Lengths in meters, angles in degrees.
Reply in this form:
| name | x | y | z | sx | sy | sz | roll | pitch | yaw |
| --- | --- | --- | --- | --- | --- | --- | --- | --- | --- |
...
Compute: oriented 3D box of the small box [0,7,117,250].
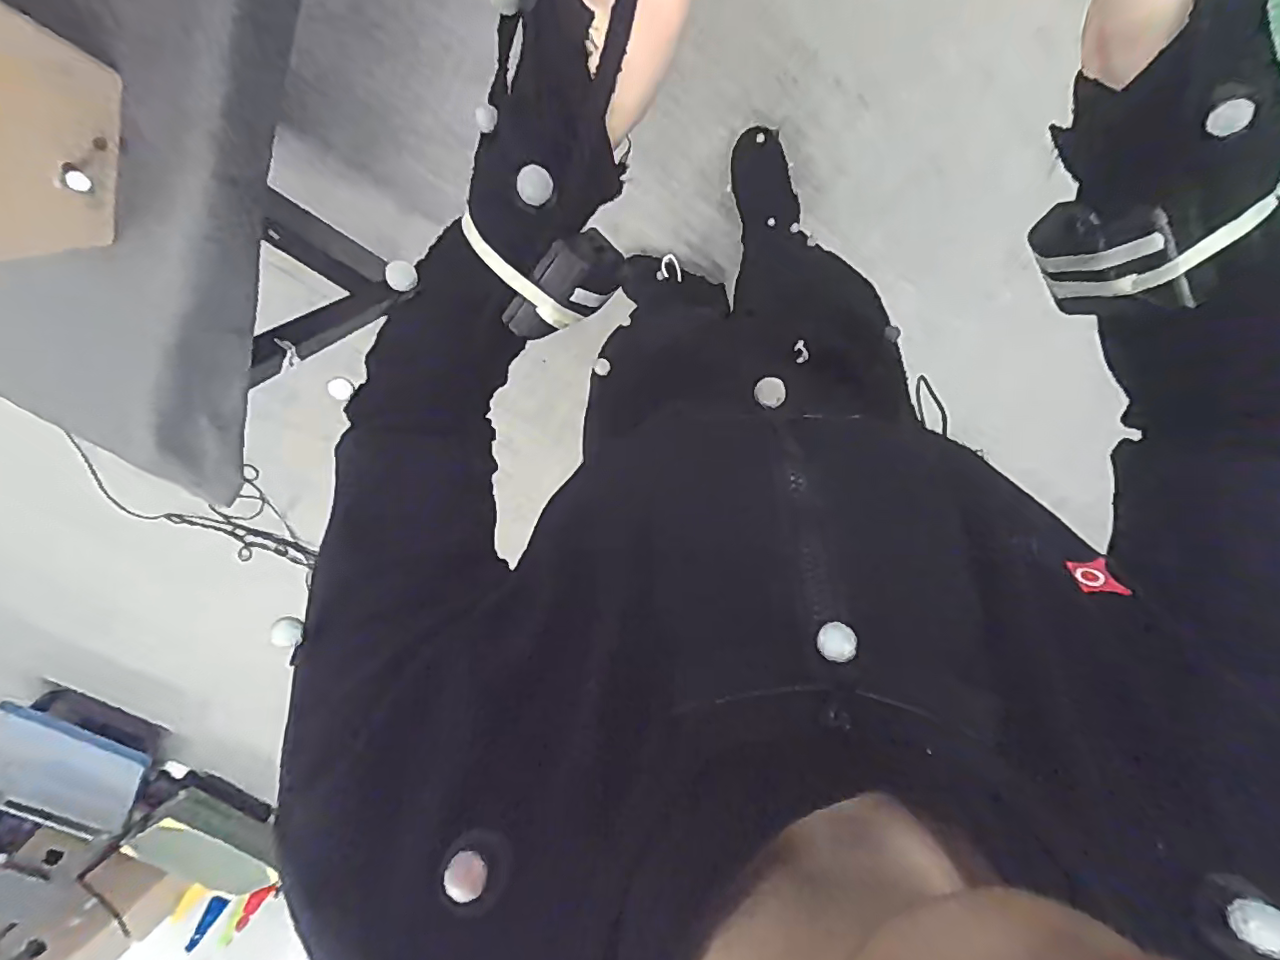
| name | x | y | z | sx | sy | sz | roll | pitch | yaw |
| --- | --- | --- | --- | --- | --- | --- | --- | --- | --- |
| small box | -0.578 | -0.294 | 0.422 | 0.179 | 0.176 | 0.168 | 29 | 120 | -13 |
